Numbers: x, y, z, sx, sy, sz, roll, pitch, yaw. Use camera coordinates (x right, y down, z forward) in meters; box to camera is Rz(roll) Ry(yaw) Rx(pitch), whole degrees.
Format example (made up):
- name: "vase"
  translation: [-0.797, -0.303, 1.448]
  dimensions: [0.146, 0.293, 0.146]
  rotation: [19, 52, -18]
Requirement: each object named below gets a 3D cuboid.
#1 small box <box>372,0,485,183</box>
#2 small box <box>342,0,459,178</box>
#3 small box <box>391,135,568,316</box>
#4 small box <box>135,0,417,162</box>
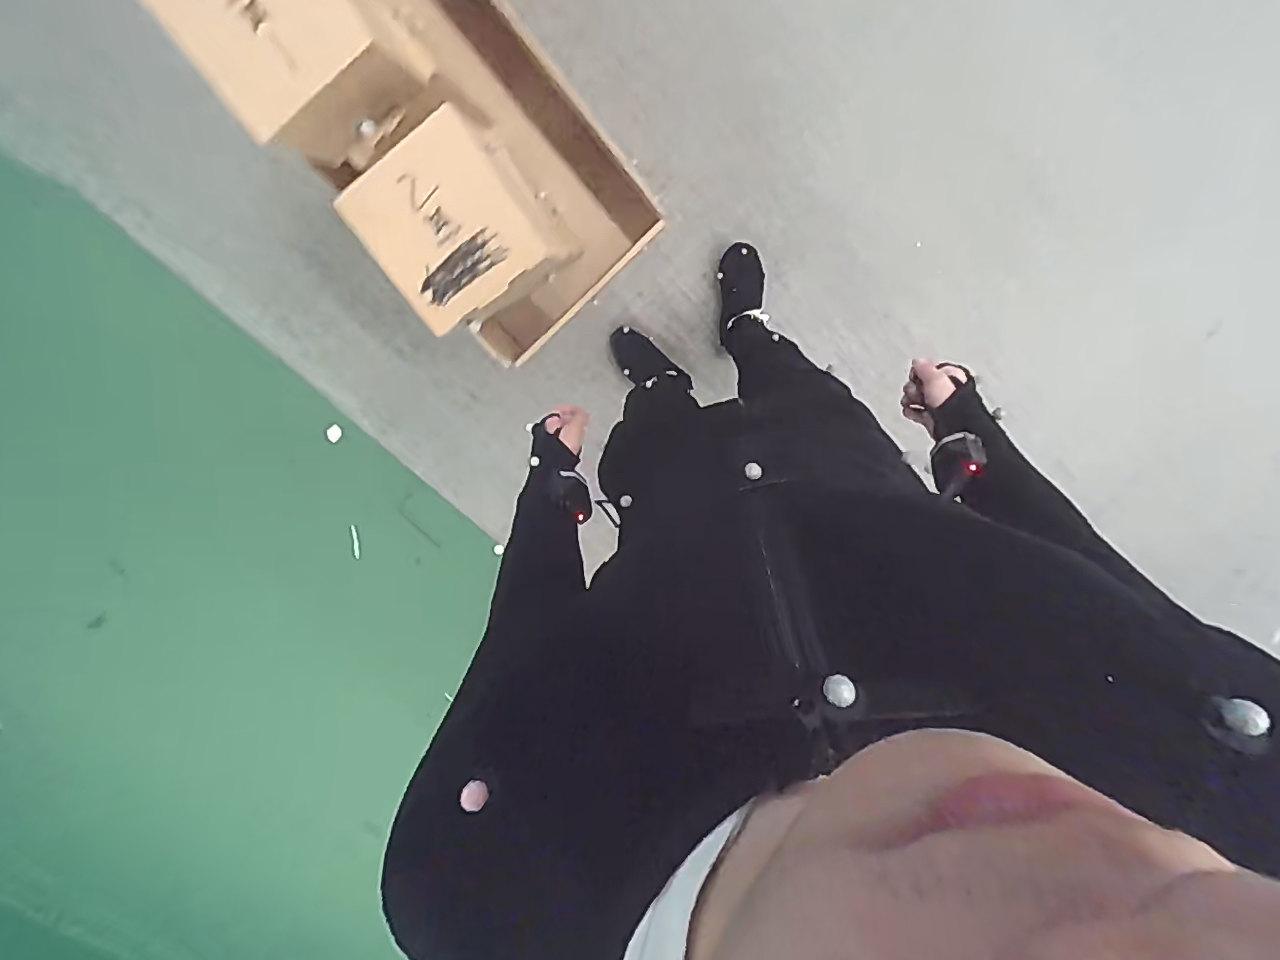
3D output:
- name: "small box"
  translation: [-0.389, -0.618, 0.898]
  dimensions: [0.168, 0.176, 0.179]
  rotation: [-41, 108, 15]
- name: "small box"
  translation: [-0.385, -0.553, 0.750]
  dimensions: [0.168, 0.176, 0.179]
  rotation: [-41, 109, 14]
- name: "small box"
  translation: [-0.226, -0.375, 0.819]
  dimensions: [0.168, 0.176, 0.179]
  rotation: [-30, 108, 11]
- name: "small box"
  translation: [-0.388, -0.489, 0.598]
  dimensions: [0.168, 0.176, 0.179]
  rotation: [-32, 111, 12]
